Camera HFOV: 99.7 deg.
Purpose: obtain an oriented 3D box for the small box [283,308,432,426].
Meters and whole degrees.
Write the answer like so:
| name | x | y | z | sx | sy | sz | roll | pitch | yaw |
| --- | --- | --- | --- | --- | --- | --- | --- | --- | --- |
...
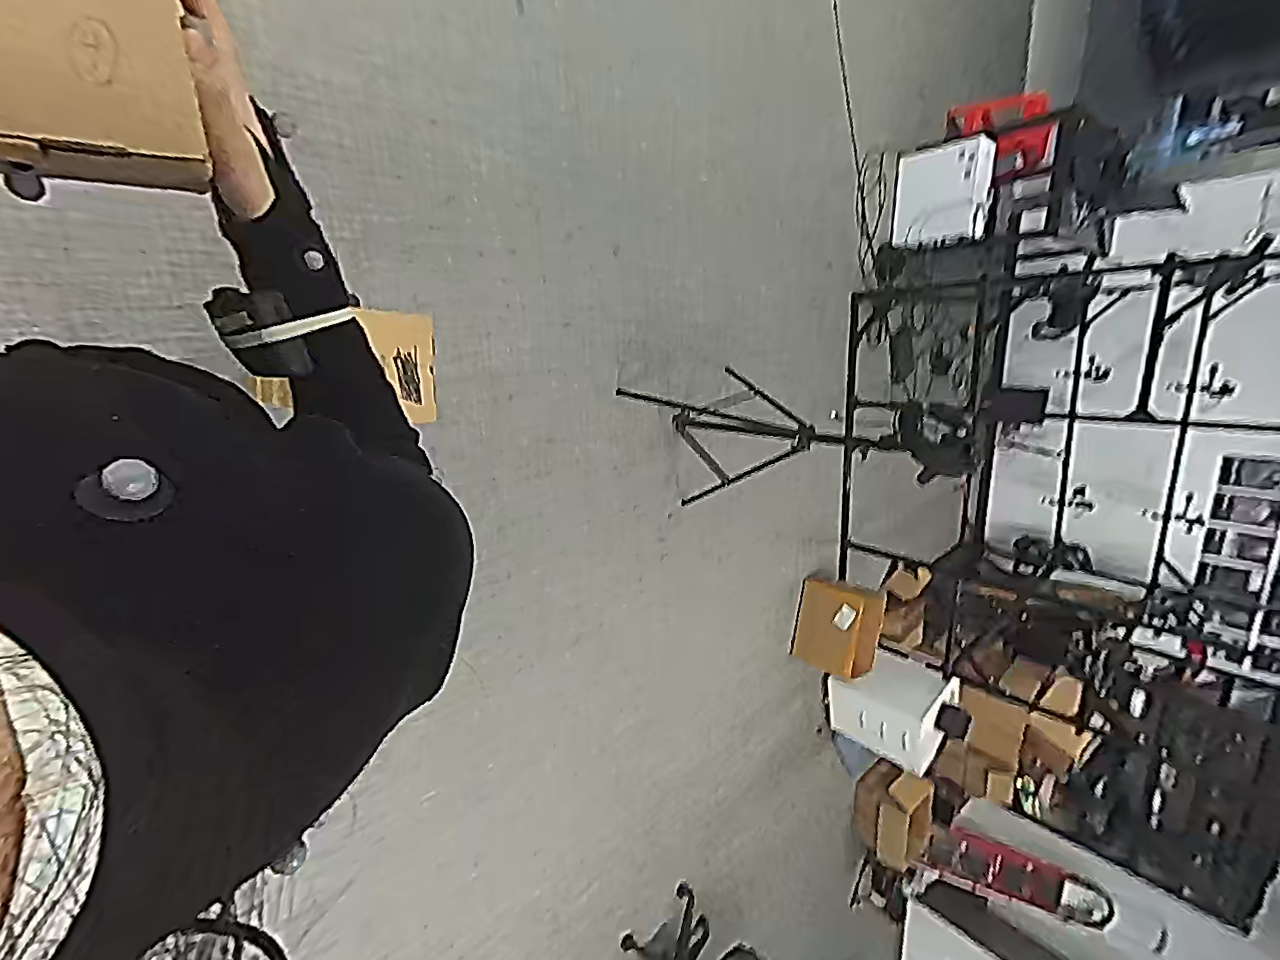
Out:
| name | x | y | z | sx | sy | sz | roll | pitch | yaw |
| --- | --- | --- | --- | --- | --- | --- | --- | --- | --- |
| small box | -0.451 | -0.173 | 0.865 | 0.179 | 0.176 | 0.168 | -6 | 101 | -40 |

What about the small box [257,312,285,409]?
| name | x | y | z | sx | sy | sz | roll | pitch | yaw |
| --- | --- | --- | --- | --- | --- | --- | --- | --- | --- |
| small box | -0.670 | -0.231 | 1.100 | 0.168 | 0.176 | 0.179 | -2 | 99 | -41 |

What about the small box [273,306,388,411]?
| name | x | y | z | sx | sy | sz | roll | pitch | yaw |
| --- | --- | --- | --- | --- | --- | --- | --- | --- | --- |
| small box | -0.557 | -0.209 | 0.986 | 0.168 | 0.176 | 0.179 | -5 | 102 | -40 |

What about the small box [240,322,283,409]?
| name | x | y | z | sx | sy | sz | roll | pitch | yaw |
| --- | --- | --- | --- | --- | --- | --- | --- | --- | --- |
| small box | -0.786 | -0.252 | 1.215 | 0.168 | 0.176 | 0.179 | -6 | 102 | -41 |

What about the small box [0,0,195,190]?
| name | x | y | z | sx | sy | sz | roll | pitch | yaw |
| --- | --- | --- | --- | --- | --- | --- | --- | --- | --- |
| small box | -0.331 | -0.243 | 0.253 | 0.168 | 0.176 | 0.179 | -15 | 118 | -35 |
